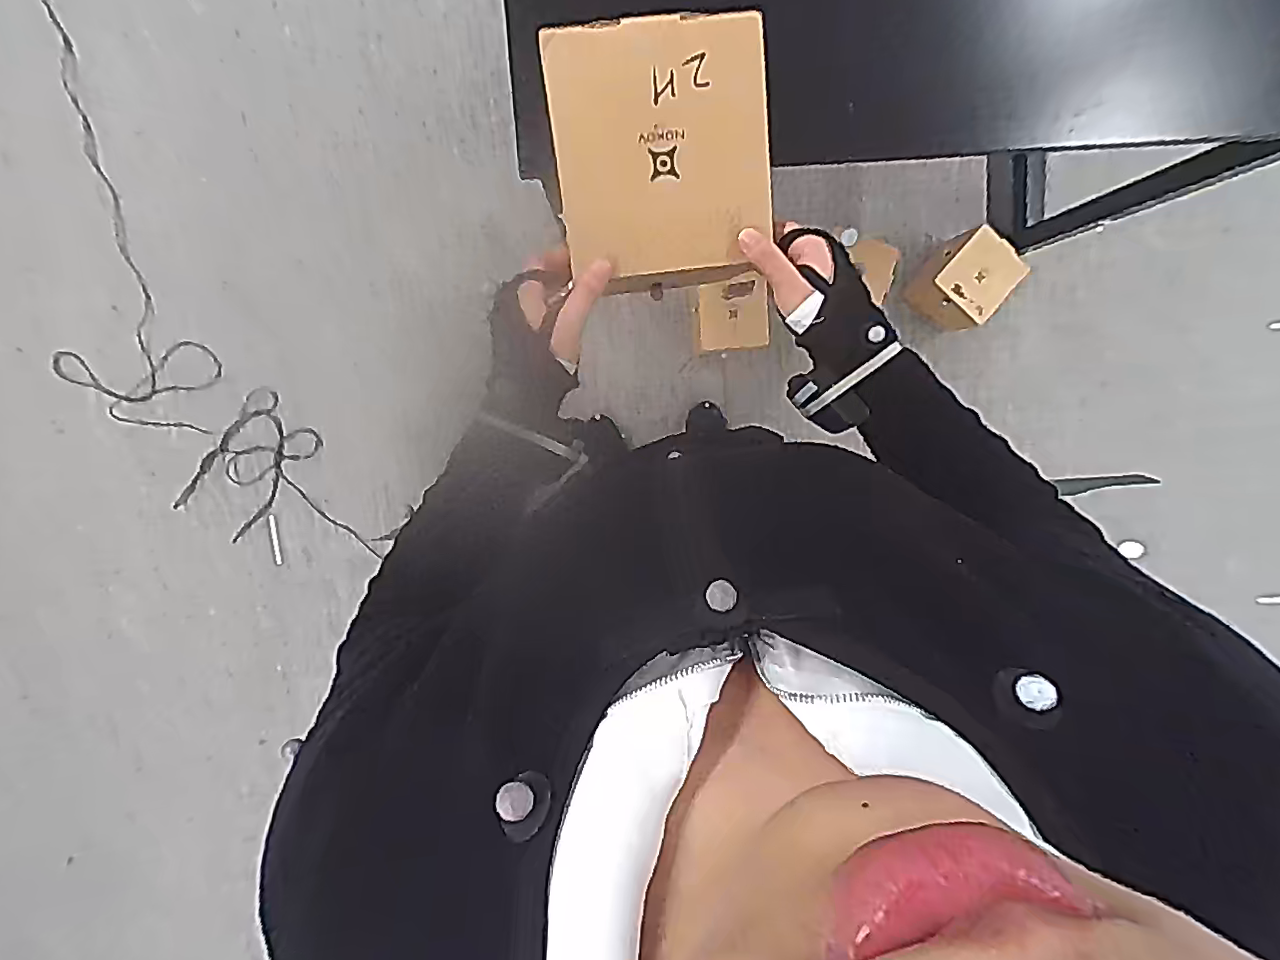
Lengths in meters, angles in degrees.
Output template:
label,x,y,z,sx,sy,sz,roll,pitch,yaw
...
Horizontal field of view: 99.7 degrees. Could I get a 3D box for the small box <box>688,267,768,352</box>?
label,x,y,z,sx,sy,sz,roll,pitch,yaw
small box,0.216,-0.423,1.360,0.168,0.176,0.179,-5,100,-1

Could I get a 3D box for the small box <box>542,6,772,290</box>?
label,x,y,z,sx,sy,sz,roll,pitch,yaw
small box,0.012,-0.273,0.490,0.168,0.176,0.179,-8,105,-3

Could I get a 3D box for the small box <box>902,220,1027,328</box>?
label,x,y,z,sx,sy,sz,roll,pitch,yaw
small box,0.808,-0.509,1.366,0.168,0.176,0.179,39,96,-7

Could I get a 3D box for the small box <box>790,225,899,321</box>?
label,x,y,z,sx,sy,sz,roll,pitch,yaw
small box,0.505,-0.510,1.358,0.179,0.176,0.168,17,97,-3
